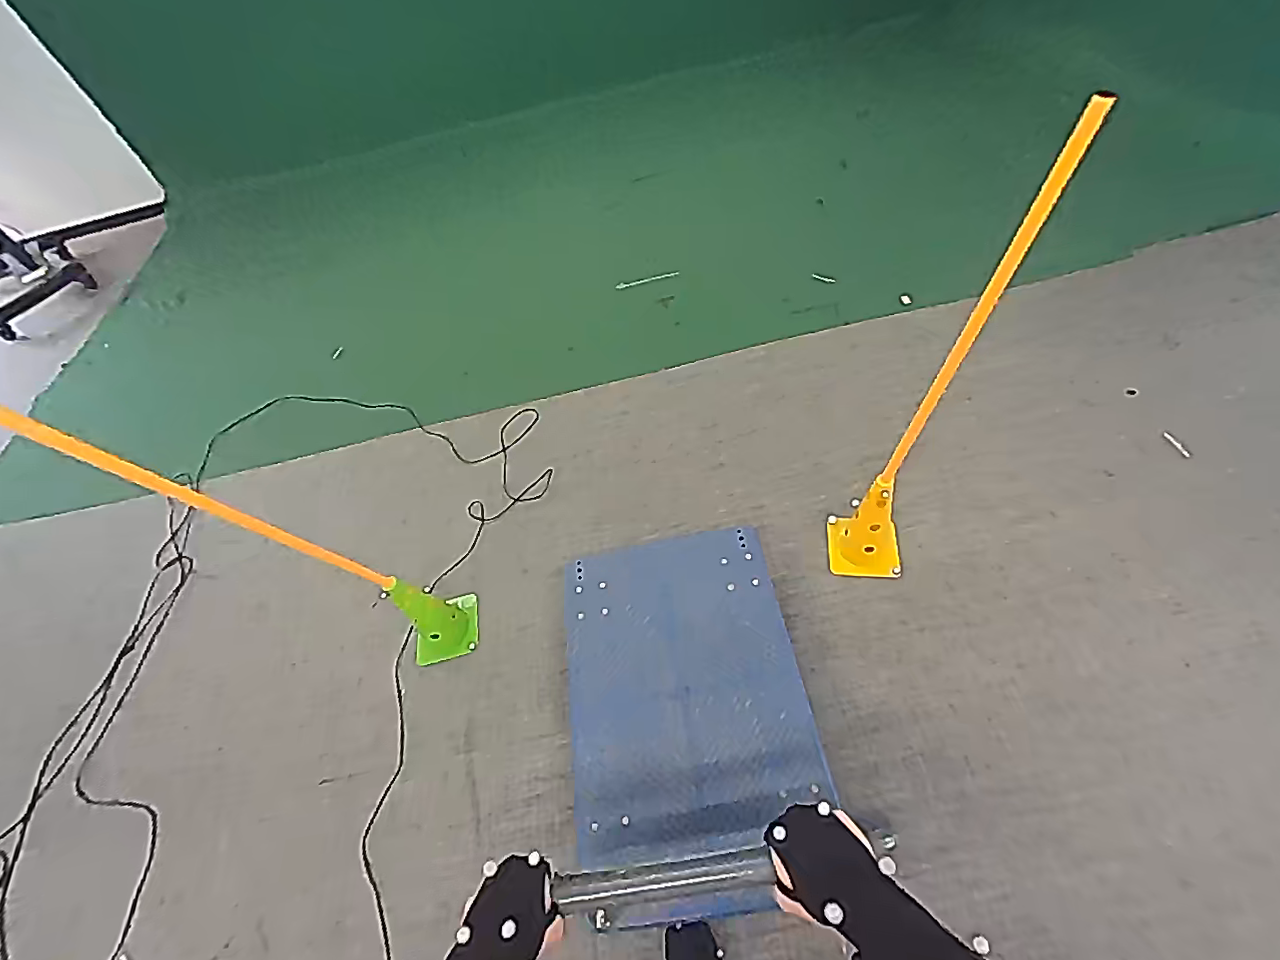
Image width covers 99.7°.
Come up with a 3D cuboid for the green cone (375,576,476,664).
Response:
[{"bbox_3d":[-0.652,0.370,1.585,0.202,0.368,0.200,-17,53,1],"label":"green cone"}]
